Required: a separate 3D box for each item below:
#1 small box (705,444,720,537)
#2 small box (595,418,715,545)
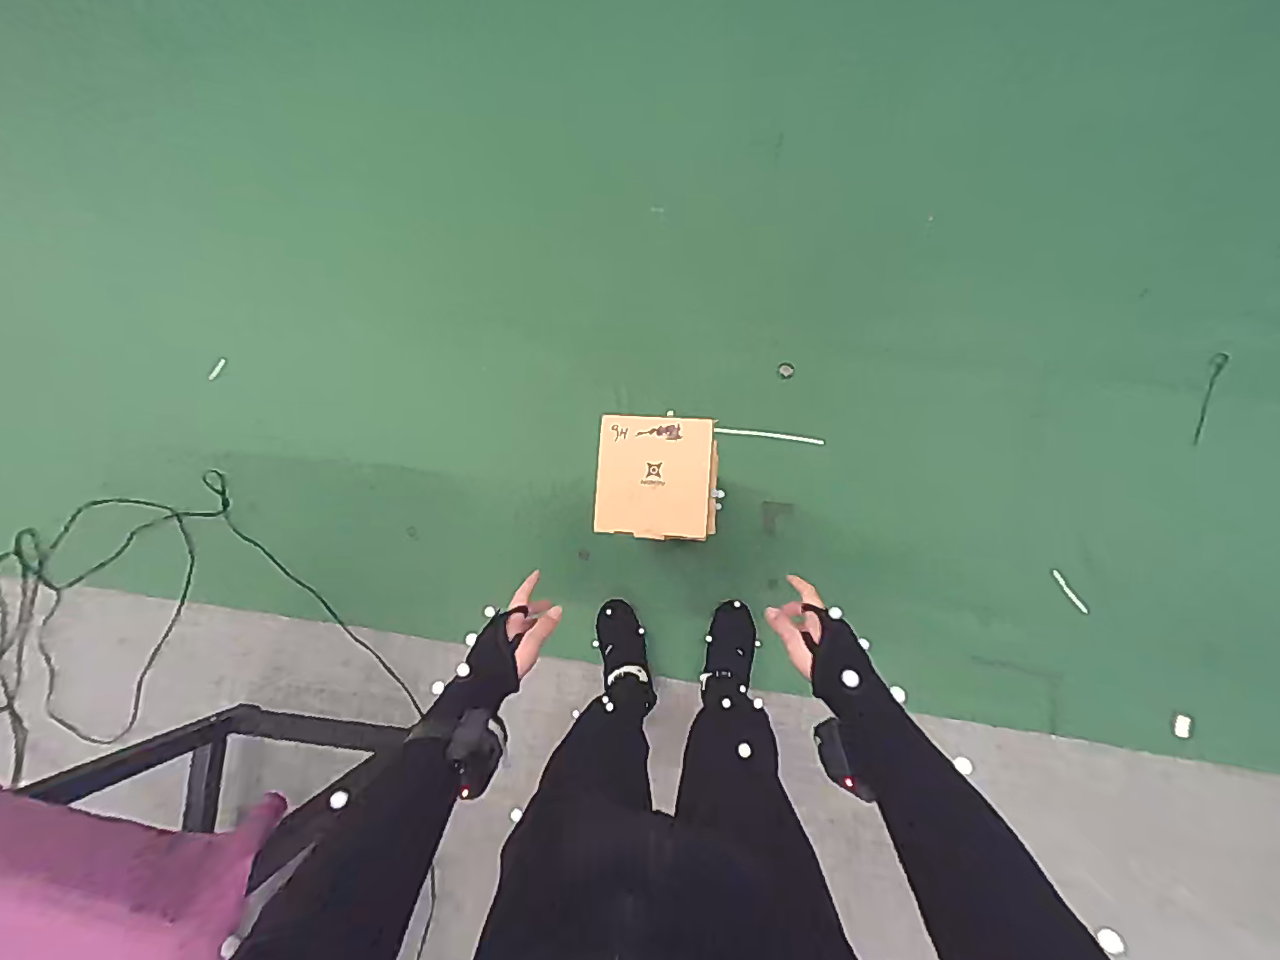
[{"bbox_3d":[0.059,0.022,1.021,0.179,0.176,0.168,2,86,7],"label":"small box"},{"bbox_3d":[0.031,0.005,0.860,0.168,0.176,0.179,4,86,8],"label":"small box"}]
